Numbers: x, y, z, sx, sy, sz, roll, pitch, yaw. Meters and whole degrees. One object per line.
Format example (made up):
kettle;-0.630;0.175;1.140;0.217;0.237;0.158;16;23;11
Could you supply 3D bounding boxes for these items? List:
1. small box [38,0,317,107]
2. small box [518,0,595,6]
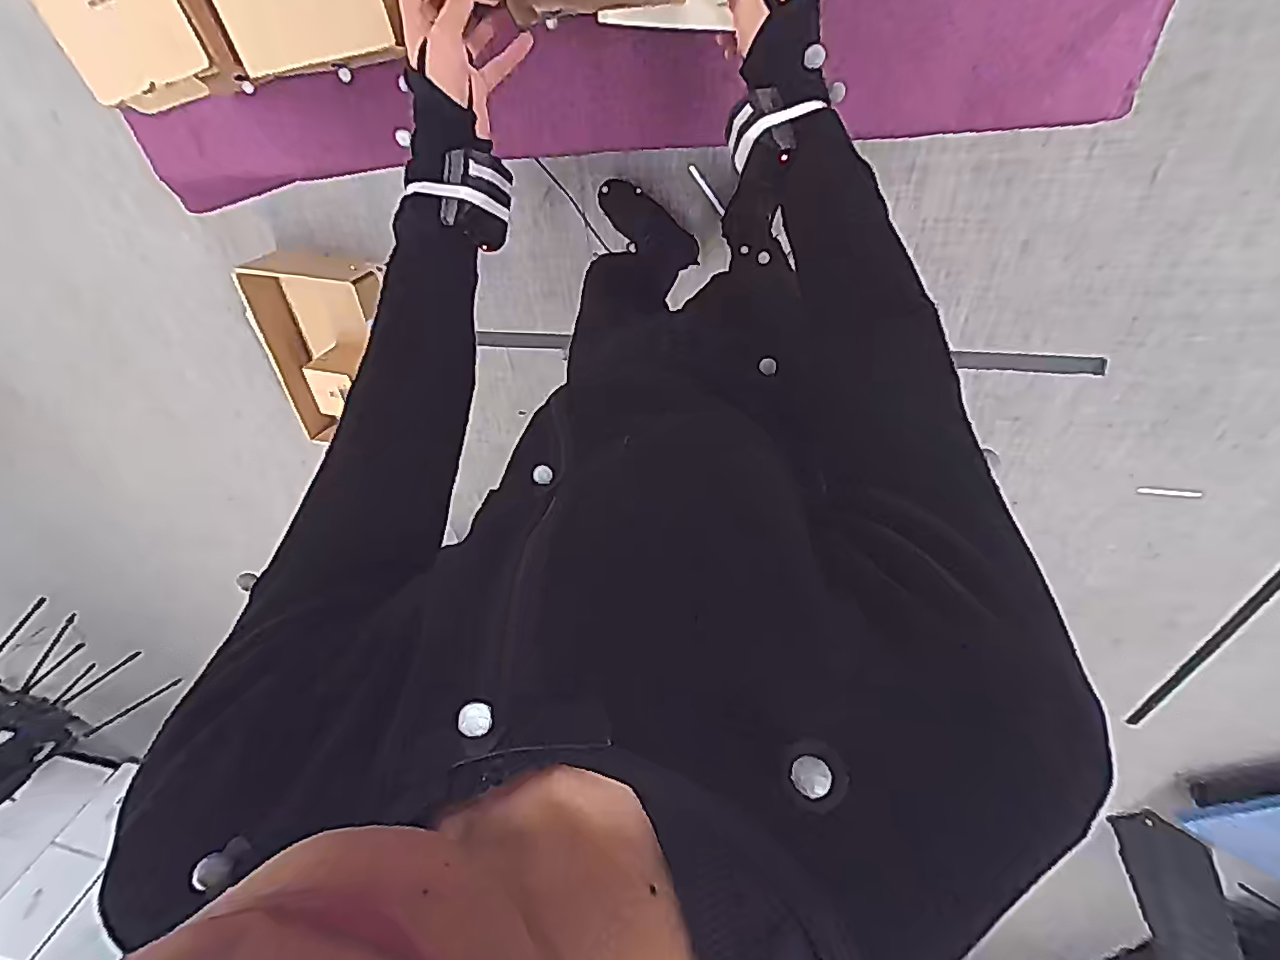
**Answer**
small box;-0.489;-0.519;0.563;0.168;0.176;0.179;-2;128;17
small box;-0.066;-0.497;0.422;0.168;0.176;0.179;14;126;23
